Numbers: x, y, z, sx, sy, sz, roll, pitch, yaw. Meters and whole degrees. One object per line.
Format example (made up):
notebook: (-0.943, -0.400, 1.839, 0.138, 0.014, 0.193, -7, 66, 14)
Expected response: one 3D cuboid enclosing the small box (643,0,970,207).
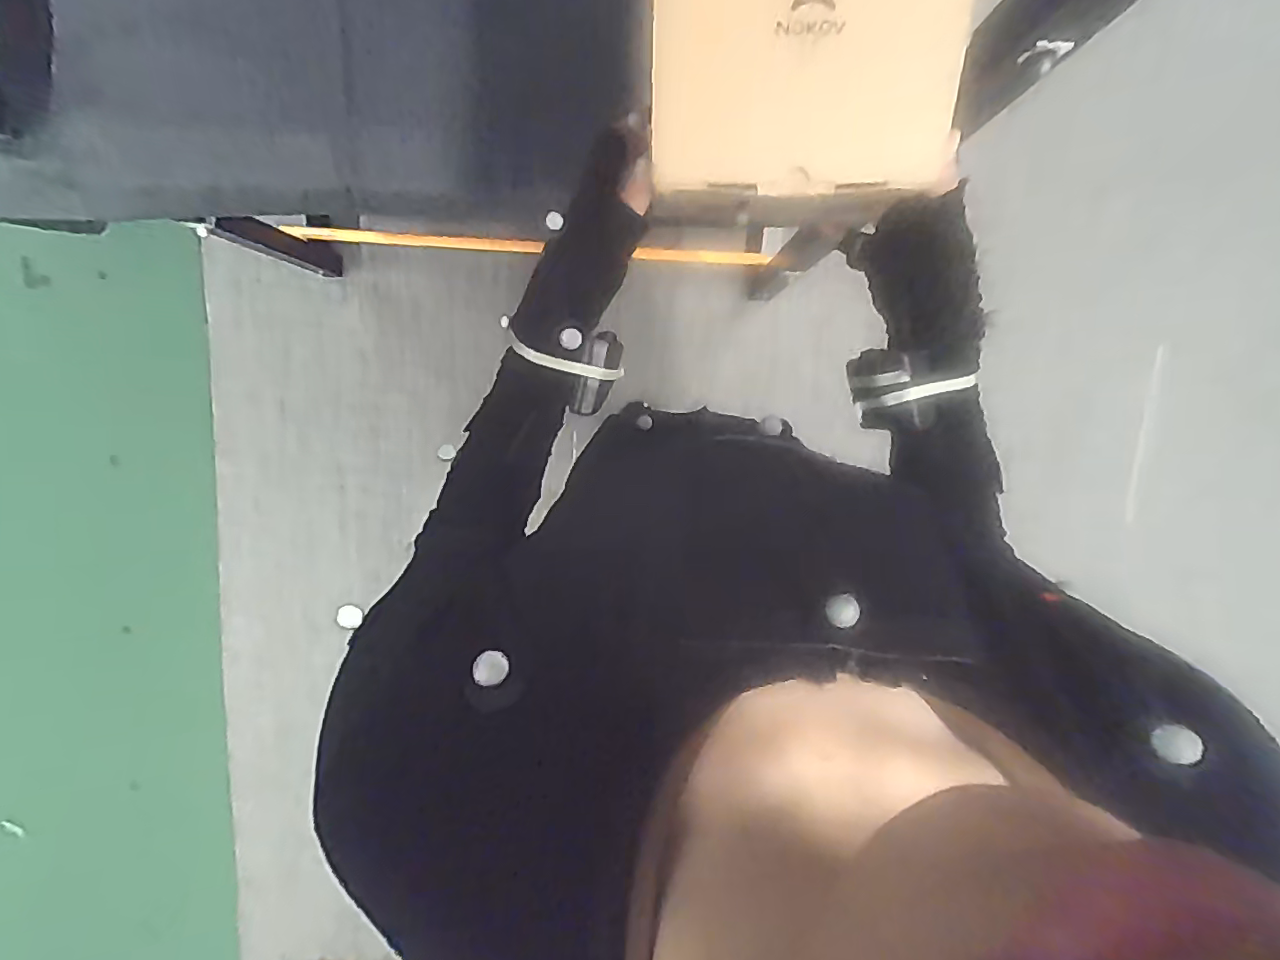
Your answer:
small box: (0.085, -0.280, 0.343, 0.168, 0.176, 0.179, 0, 112, 2)
